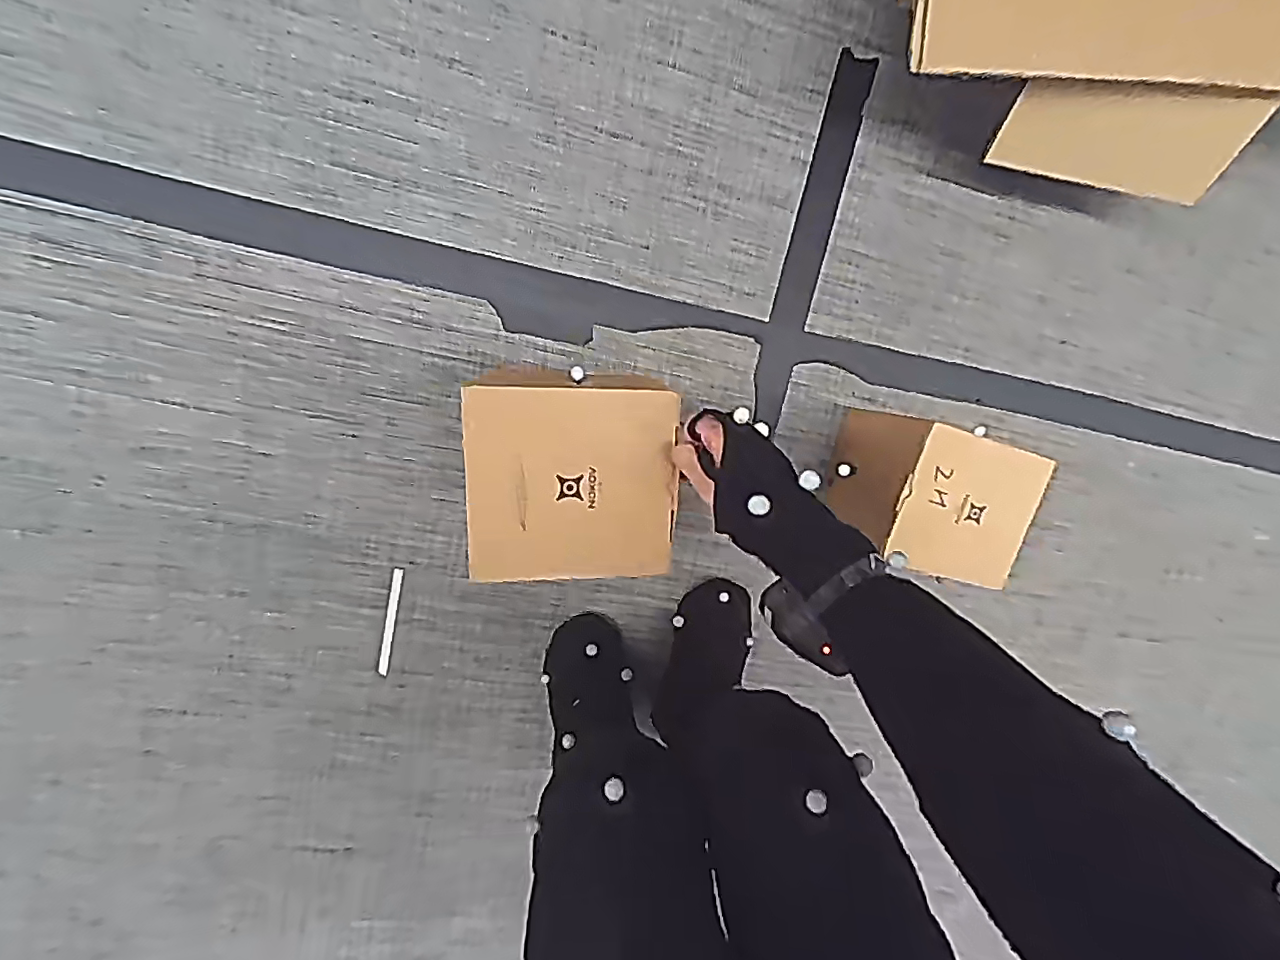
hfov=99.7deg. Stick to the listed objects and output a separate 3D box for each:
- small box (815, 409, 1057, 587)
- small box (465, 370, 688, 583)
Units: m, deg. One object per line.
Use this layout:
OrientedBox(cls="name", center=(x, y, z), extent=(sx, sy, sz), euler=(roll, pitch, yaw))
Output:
OrientedBox(cls="small box", center=(0.360, 0.013, 0.688), extent=(0.179, 0.176, 0.168), euler=(15, 100, -13))
OrientedBox(cls="small box", center=(-0.064, -0.015, 0.513), extent=(0.179, 0.176, 0.168), euler=(-1, 104, -10))
